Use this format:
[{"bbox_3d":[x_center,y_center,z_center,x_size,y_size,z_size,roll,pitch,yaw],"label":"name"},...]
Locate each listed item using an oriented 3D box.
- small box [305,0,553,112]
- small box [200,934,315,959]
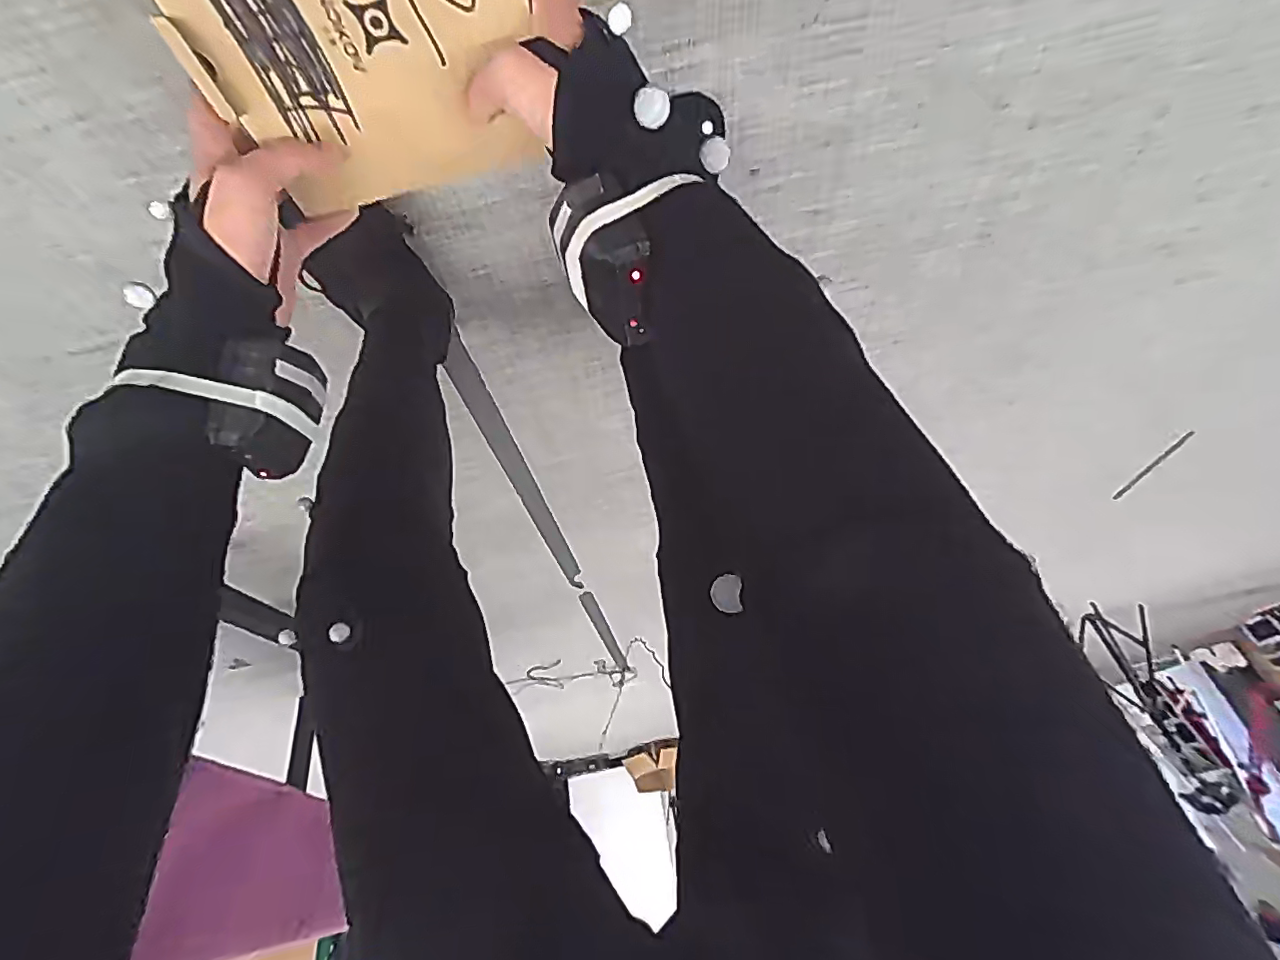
[{"bbox_3d":[-0.173,-0.431,0.412,0.168,0.176,0.179,-14,146,4],"label":"small box"},{"bbox_3d":[-0.863,1.139,1.203,0.168,0.176,0.179,-18,145,10],"label":"small box"}]
